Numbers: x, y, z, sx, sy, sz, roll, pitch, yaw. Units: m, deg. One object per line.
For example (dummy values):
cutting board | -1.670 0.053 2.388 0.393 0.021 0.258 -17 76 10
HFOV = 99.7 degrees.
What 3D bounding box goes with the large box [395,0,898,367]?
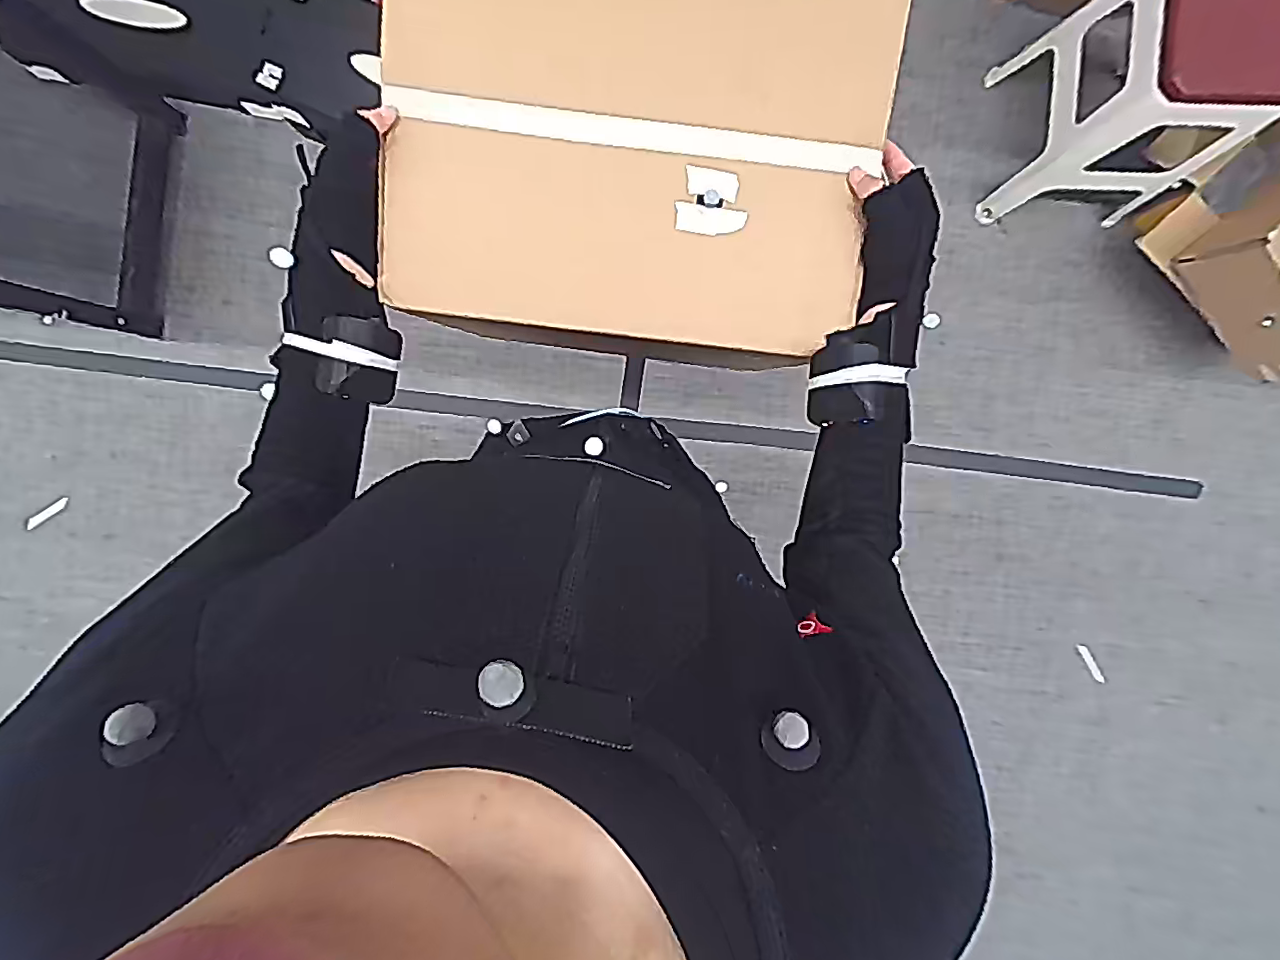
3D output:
large box | -0.007 -0.305 0.599 0.408 0.320 0.320 6 101 -3
